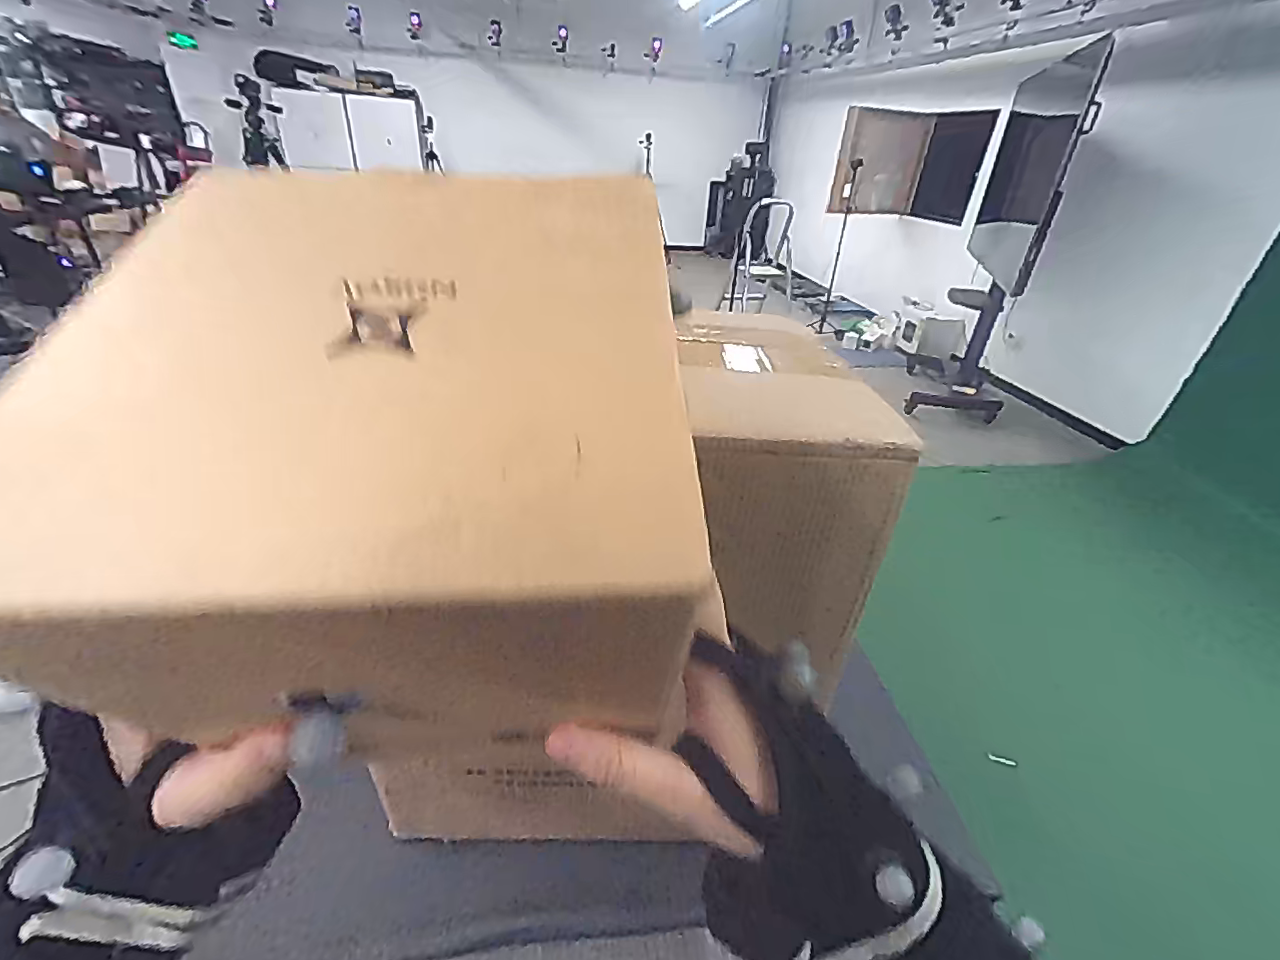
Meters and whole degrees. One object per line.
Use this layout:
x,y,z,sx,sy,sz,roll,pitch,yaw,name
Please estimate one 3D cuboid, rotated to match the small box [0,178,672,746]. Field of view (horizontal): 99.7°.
-0.079,0.001,0.223,0.168,0.176,0.179,-1,53,-4,small box
